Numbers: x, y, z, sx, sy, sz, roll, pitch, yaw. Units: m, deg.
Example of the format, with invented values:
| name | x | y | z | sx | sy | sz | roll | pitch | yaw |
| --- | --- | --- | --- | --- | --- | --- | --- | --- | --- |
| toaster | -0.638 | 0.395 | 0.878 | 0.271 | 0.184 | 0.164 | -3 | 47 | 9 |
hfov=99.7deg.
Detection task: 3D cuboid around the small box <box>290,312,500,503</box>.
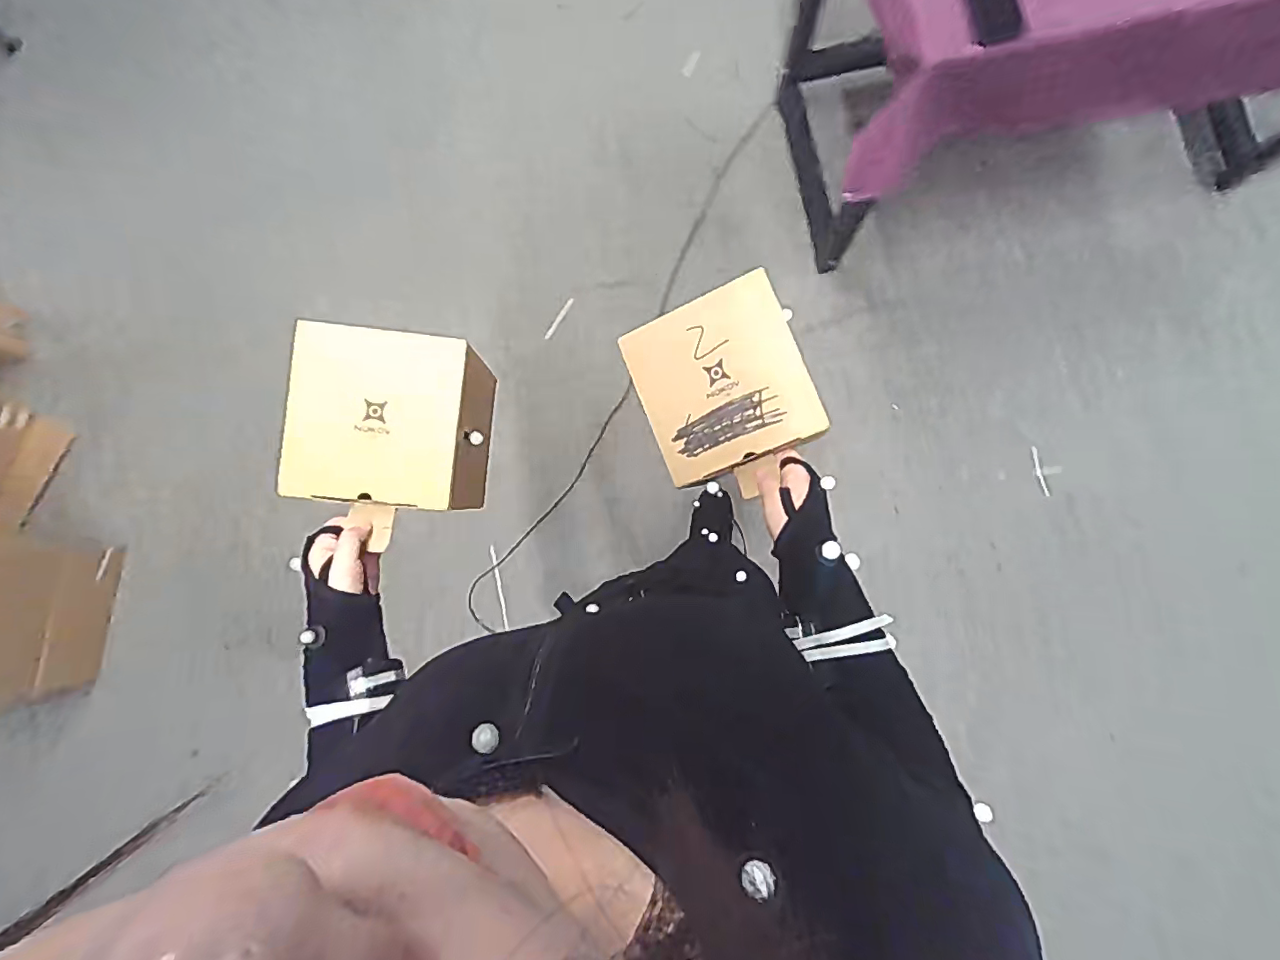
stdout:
| name | x | y | z | sx | sy | sz | roll | pitch | yaw |
| --- | --- | --- | --- | --- | --- | --- | --- | --- | --- |
| small box | -0.263 | -0.072 | 0.623 | 0.168 | 0.176 | 0.179 | 7 | 90 | -5 |
